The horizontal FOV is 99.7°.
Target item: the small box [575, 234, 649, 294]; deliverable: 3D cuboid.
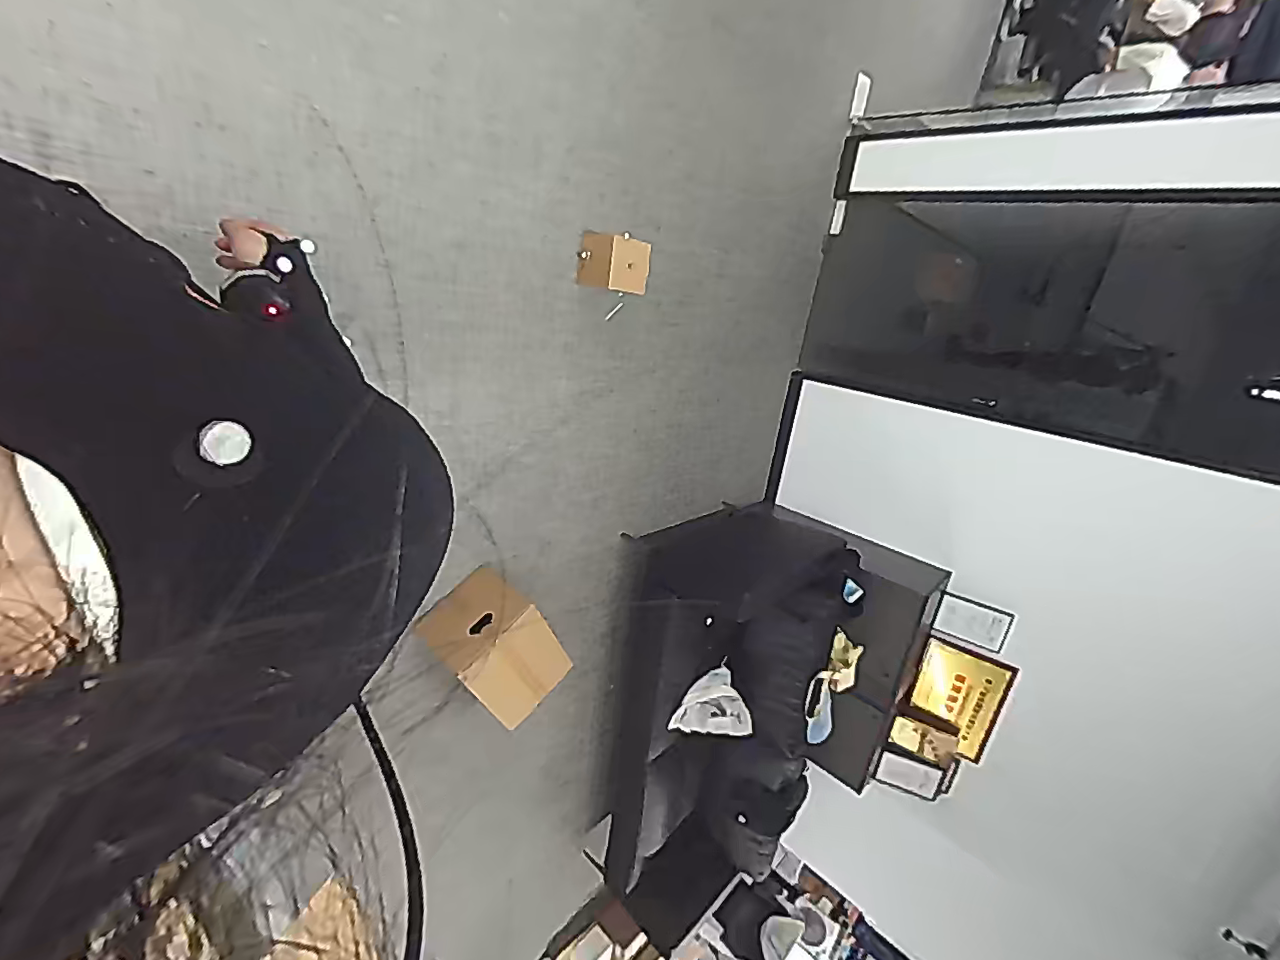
[{"bbox_3d":[-0.096,-0.733,1.835,0.179,0.176,0.168,-12,117,-45],"label":"small box"}]
